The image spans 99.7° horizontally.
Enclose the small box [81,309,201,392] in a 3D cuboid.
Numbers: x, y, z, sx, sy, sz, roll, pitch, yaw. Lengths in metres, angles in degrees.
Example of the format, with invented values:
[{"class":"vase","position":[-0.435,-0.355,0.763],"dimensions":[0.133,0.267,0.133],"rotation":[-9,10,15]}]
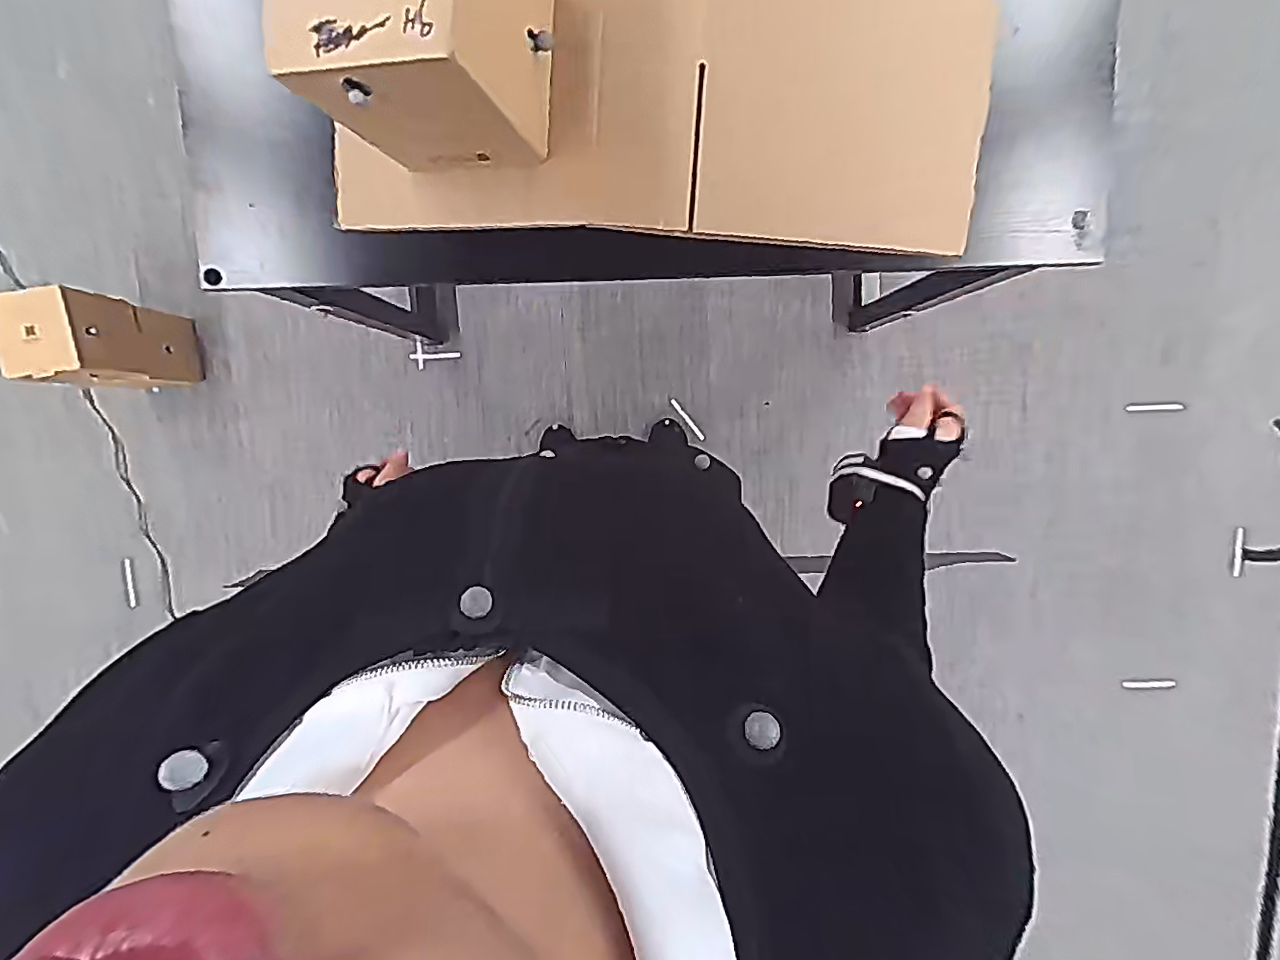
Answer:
[{"class":"small box","position":[-1.262,-0.319,1.361],"dimensions":[0.168,0.176,0.179],"rotation":[-6,97,0]}]

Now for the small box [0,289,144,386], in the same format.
[{"class":"small box","position":[-1.263,-0.306,1.198],"dimensions":[0.168,0.176,0.179],"rotation":[-9,96,0]}]

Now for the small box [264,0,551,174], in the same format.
[{"class":"small box","position":[-0.186,-0.398,0.471],"dimensions":[0.168,0.176,0.179],"rotation":[5,96,14]}]
